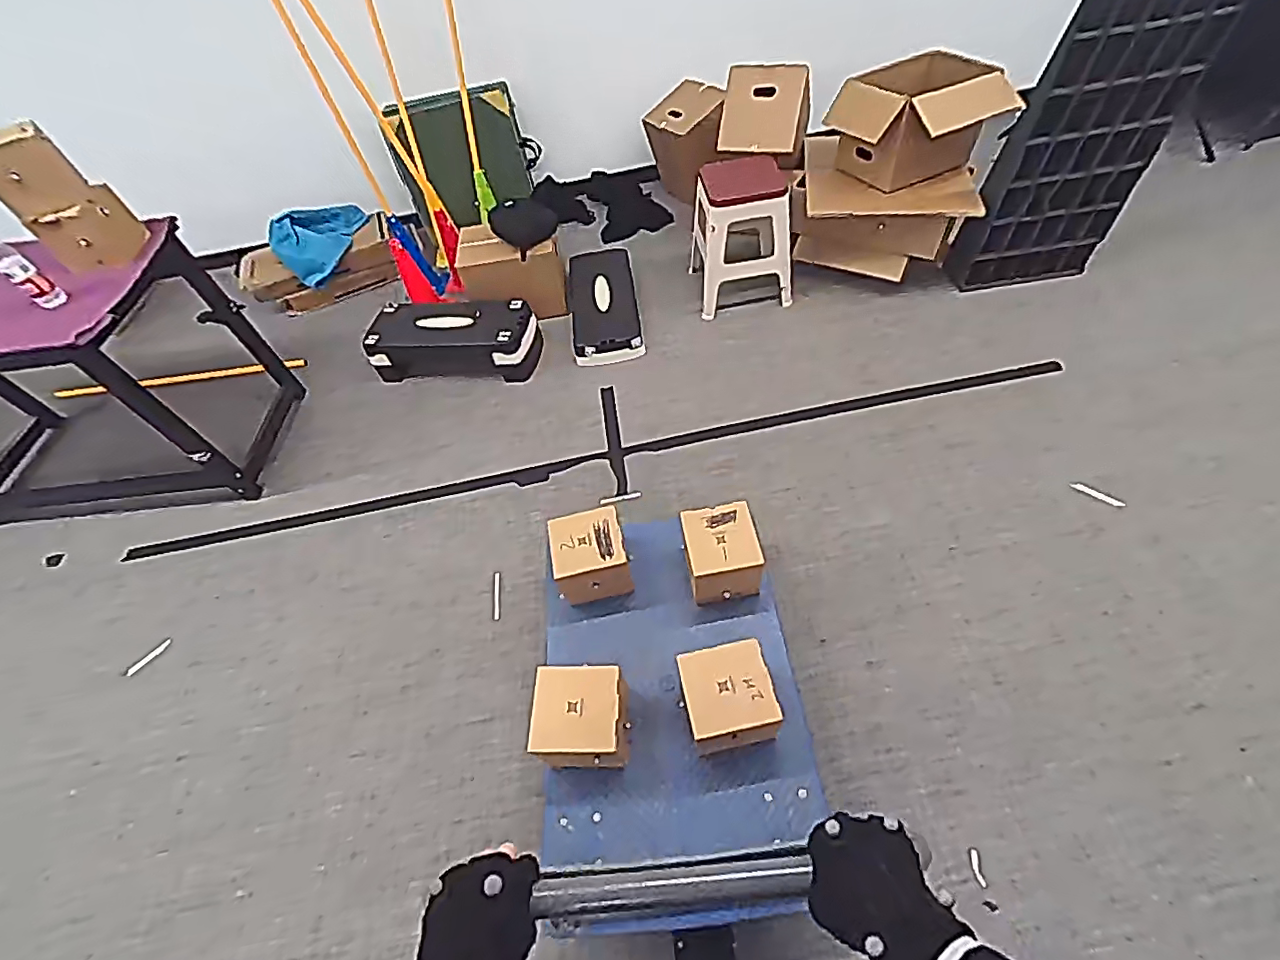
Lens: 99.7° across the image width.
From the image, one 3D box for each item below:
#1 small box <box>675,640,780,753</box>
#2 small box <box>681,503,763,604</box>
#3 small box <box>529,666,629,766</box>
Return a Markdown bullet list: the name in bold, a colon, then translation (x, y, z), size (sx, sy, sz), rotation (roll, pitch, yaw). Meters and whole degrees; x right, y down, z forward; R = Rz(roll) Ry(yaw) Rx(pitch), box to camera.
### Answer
- **small box**: translation (0.181, 0.460, 1.141), size (0.179, 0.176, 0.168), rotation (-12, 54, -1)
- **small box**: translation (0.197, 0.185, 1.337), size (0.168, 0.176, 0.179), rotation (-11, 55, 1)
- **small box**: translation (-0.122, 0.506, 1.152), size (0.179, 0.176, 0.168), rotation (-3, 54, 5)
